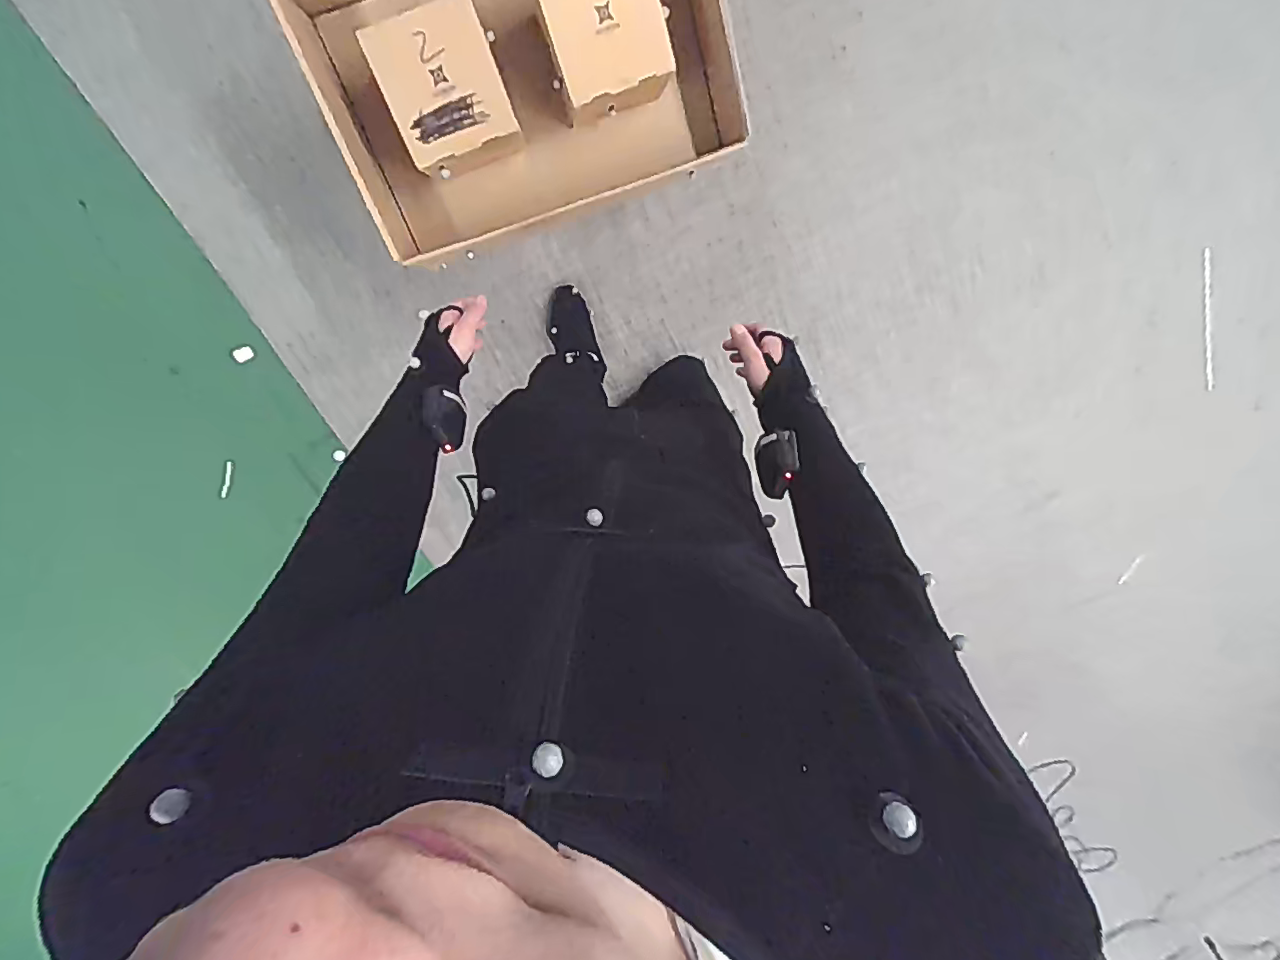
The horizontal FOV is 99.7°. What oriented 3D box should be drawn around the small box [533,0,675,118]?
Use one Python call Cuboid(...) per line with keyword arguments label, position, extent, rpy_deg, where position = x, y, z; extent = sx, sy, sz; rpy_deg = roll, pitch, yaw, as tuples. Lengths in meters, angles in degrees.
Cuboid(label="small box", position=(-0.061, -0.687, 0.824), extent=(0.168, 0.176, 0.179), rpy_deg=(-20, 117, 1))
